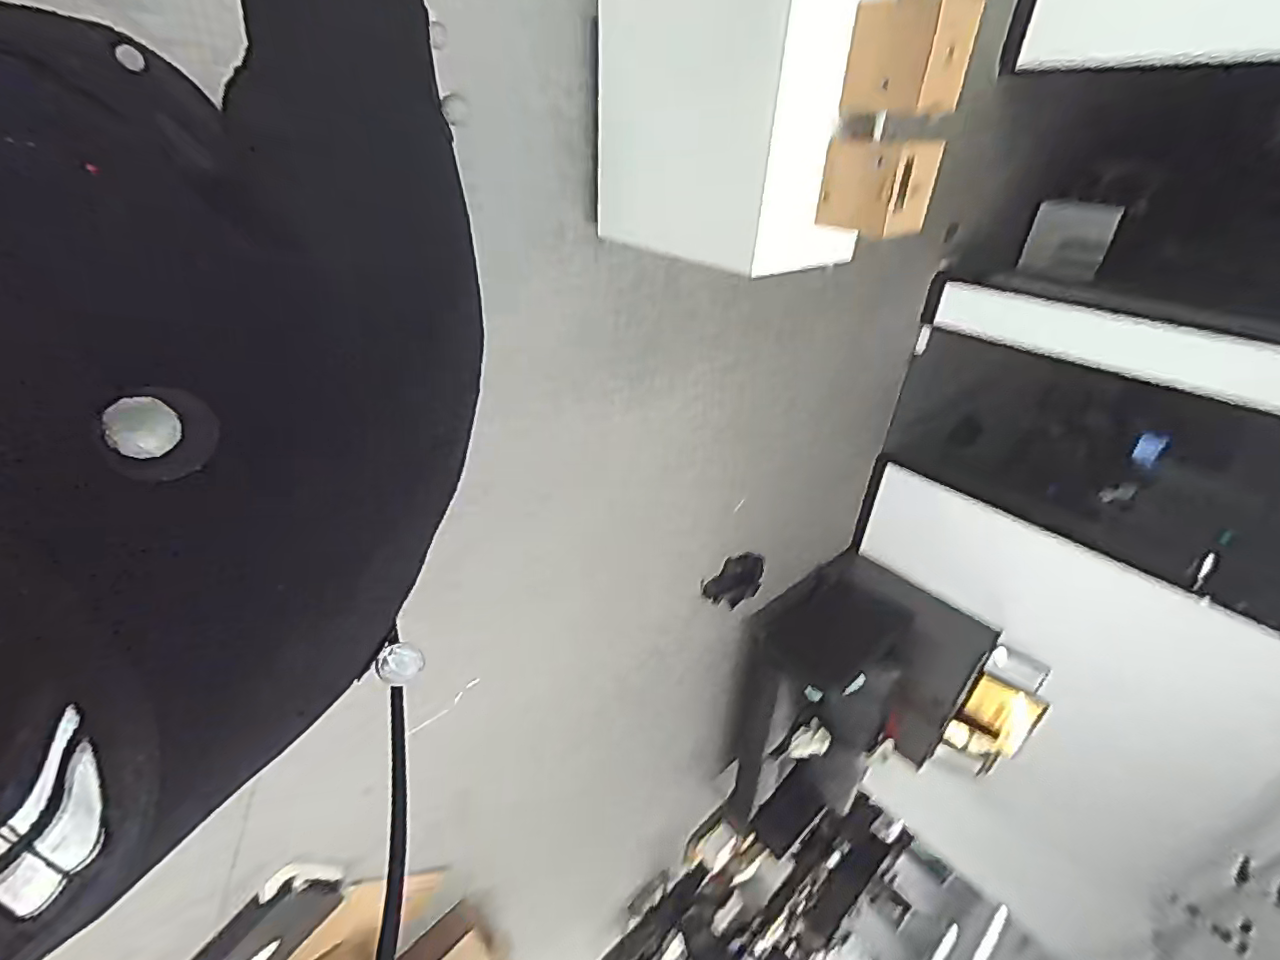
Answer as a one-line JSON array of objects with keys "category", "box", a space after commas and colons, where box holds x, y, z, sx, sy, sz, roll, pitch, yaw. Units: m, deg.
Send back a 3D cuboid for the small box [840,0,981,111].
[{"category": "small box", "box": [0.514, -0.827, 1.049, 0.168, 0.176, 0.179, -28, 133, -31]}]
